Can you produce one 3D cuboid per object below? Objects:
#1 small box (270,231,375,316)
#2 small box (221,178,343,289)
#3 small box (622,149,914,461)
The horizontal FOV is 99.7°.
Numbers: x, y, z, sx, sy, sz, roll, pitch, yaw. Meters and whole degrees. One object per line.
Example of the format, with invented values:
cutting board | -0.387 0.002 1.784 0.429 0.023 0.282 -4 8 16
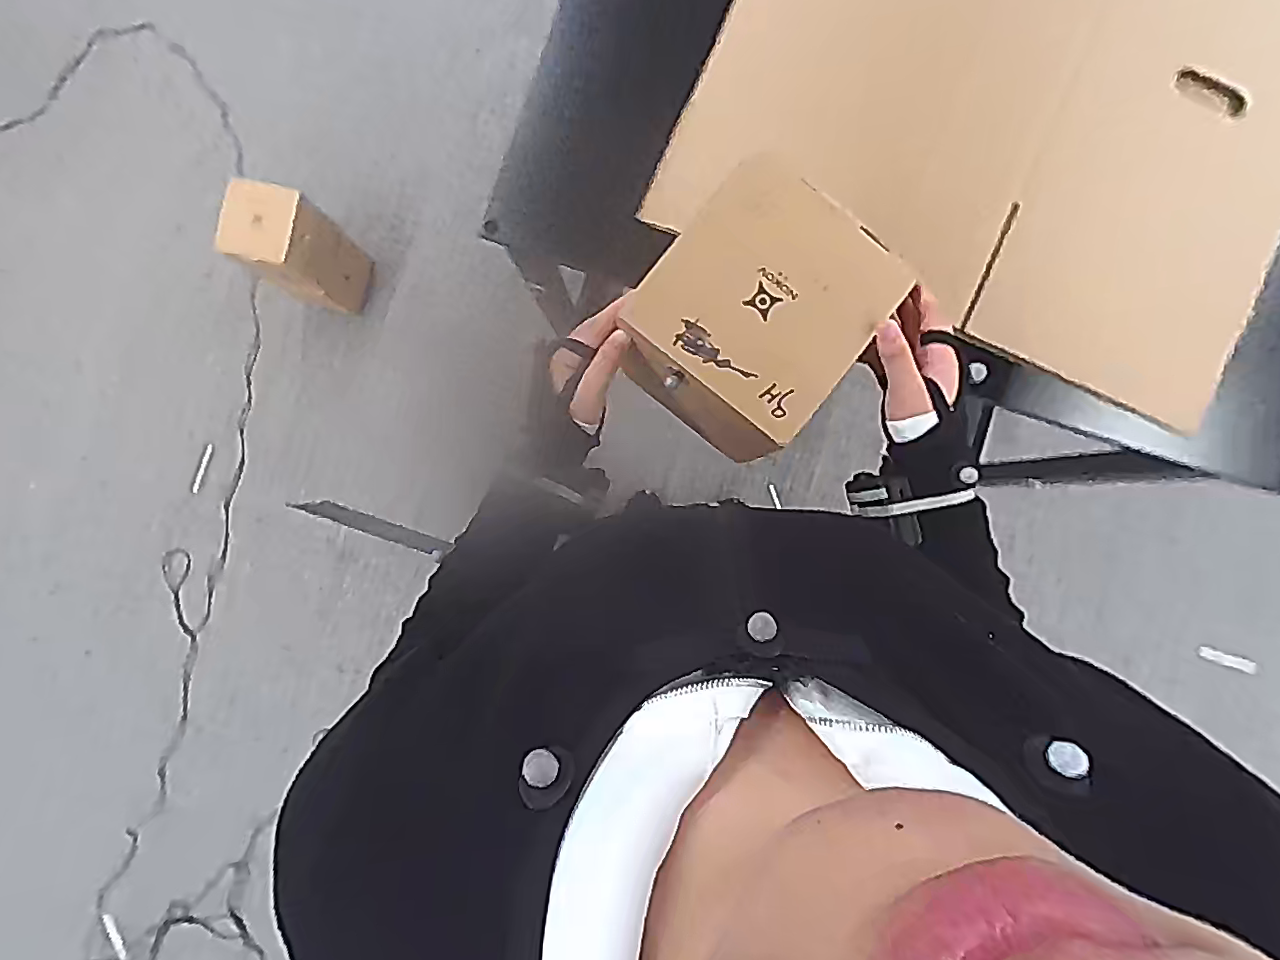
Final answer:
small box | -0.850 -0.572 1.468 0.168 0.176 0.179 15 89 2
small box | -0.853 -0.585 1.306 0.168 0.176 0.179 12 87 1
small box | 0.096 -0.138 0.493 0.168 0.176 0.179 39 86 2
